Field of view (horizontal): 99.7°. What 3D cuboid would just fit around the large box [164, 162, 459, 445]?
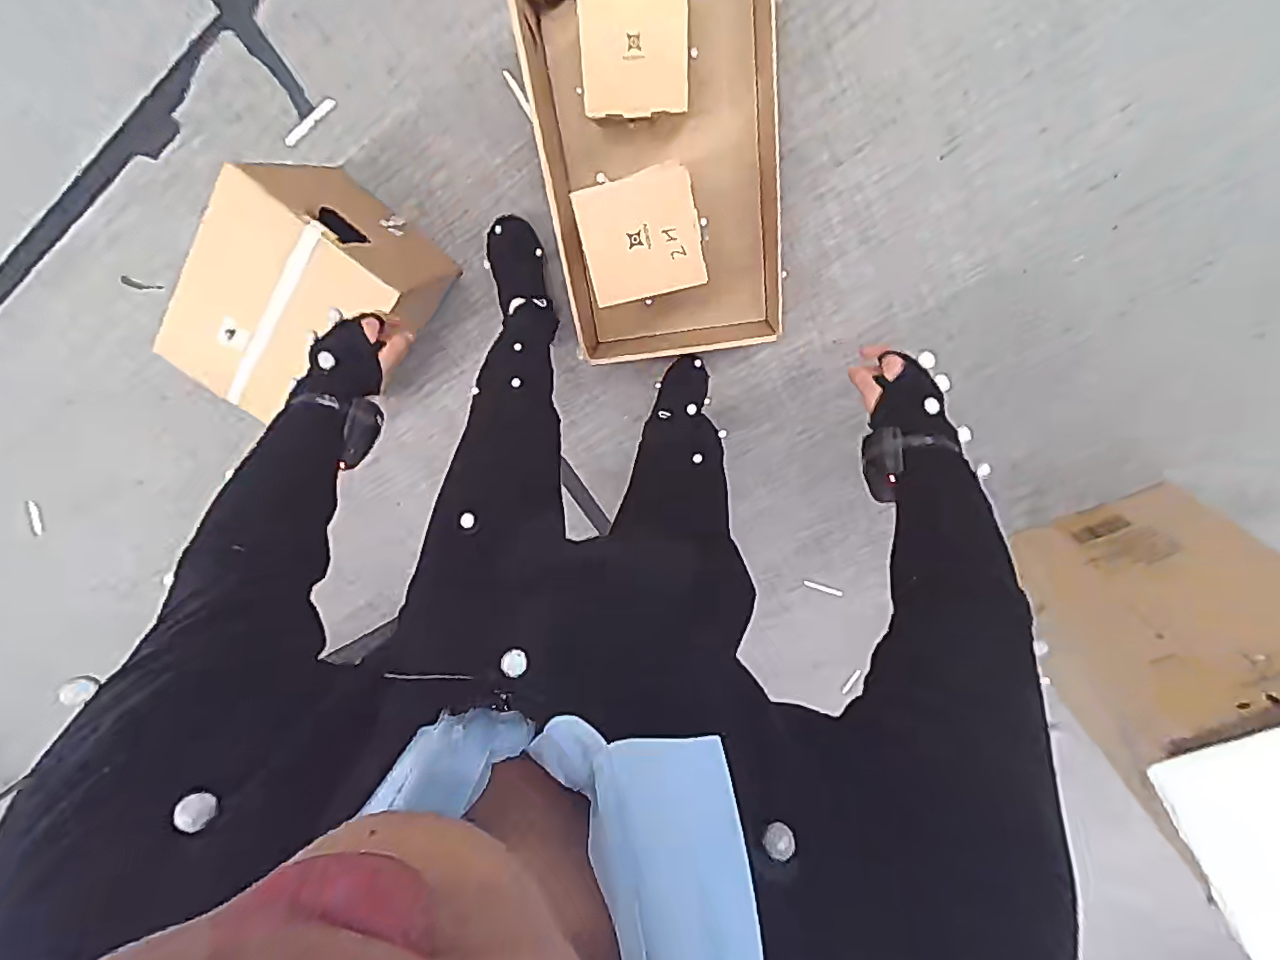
[{"bbox_3d":[-0.638,-0.359,1.094,0.320,0.320,0.408,38,115,-15],"label":"large box"}]

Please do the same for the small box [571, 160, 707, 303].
[{"bbox_3d":[0.007,-0.392,0.863,0.179,0.176,0.168,-10,115,8],"label":"small box"}]
